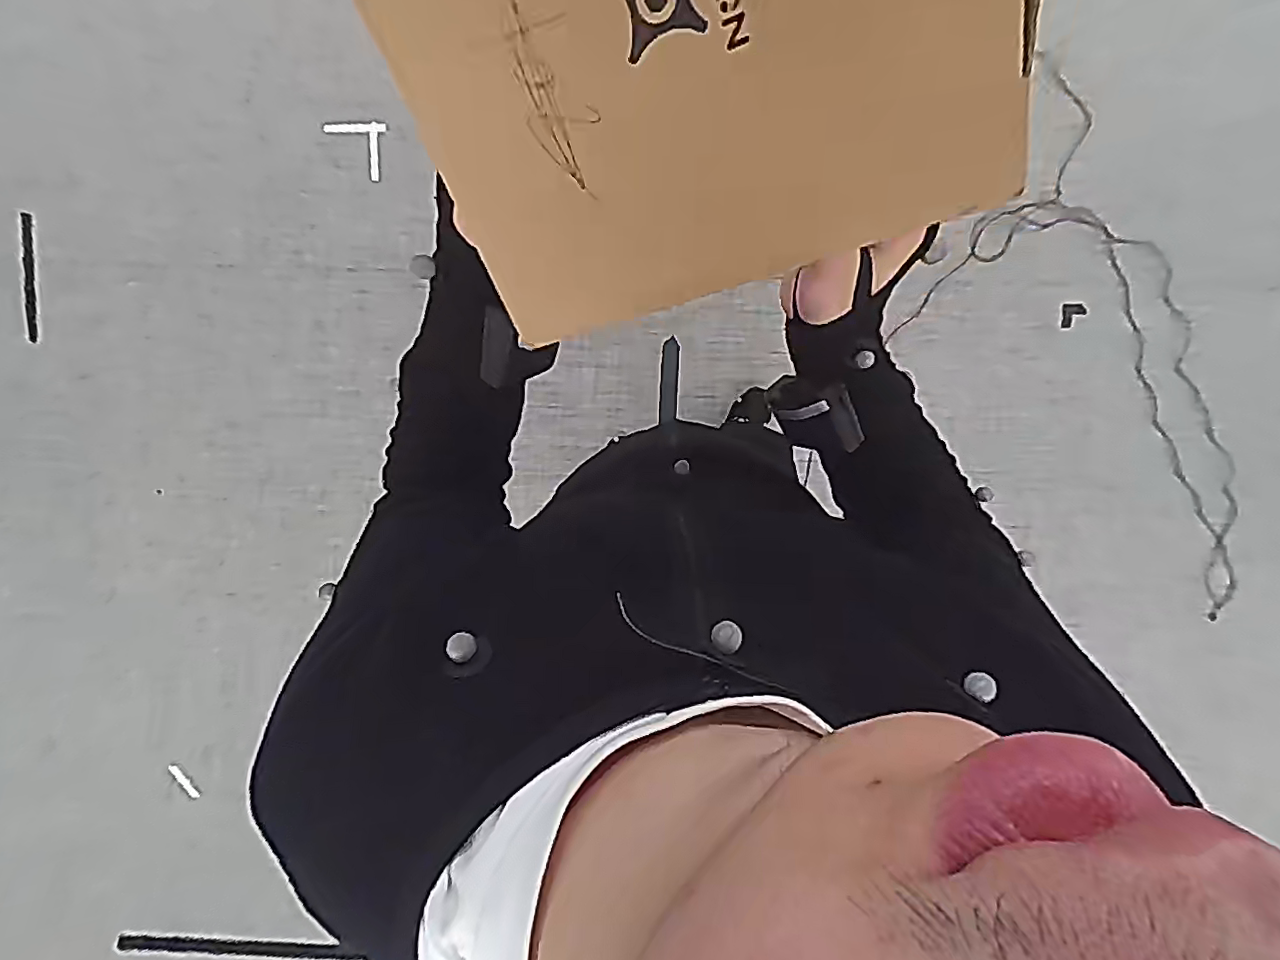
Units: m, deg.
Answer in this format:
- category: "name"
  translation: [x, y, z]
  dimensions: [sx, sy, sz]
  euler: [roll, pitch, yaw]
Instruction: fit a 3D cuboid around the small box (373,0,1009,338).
- category: "small box"
  translation: [0.021, -0.187, 0.223]
  dimensions: [0.179, 0.176, 0.168]
  euler: [-13, 122, 20]
